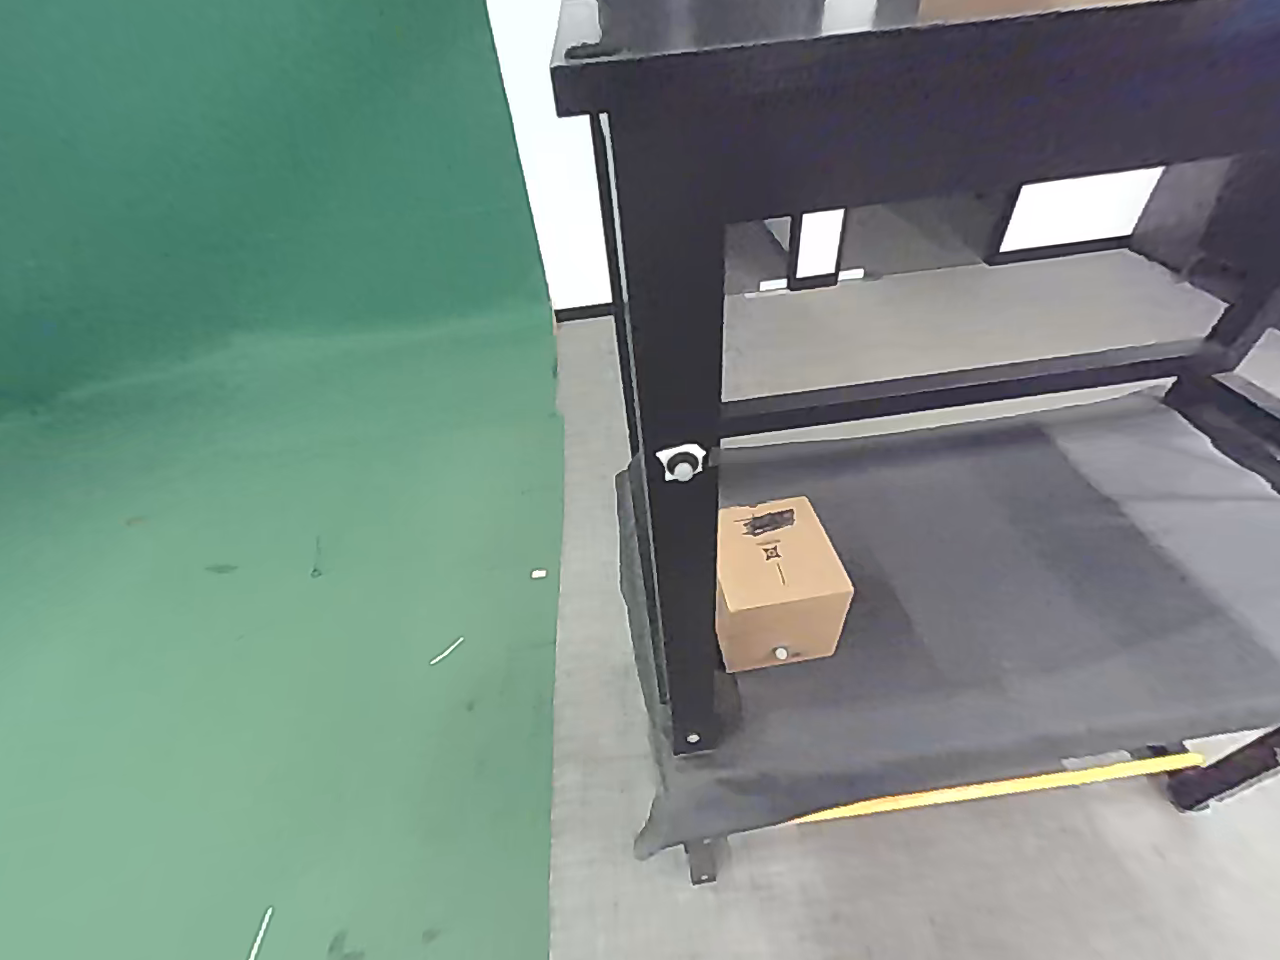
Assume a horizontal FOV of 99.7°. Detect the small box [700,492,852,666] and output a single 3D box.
[{"bbox_3d":[0.185,0.145,0.798,0.168,0.176,0.179,-10,44,-2],"label":"small box"}]
